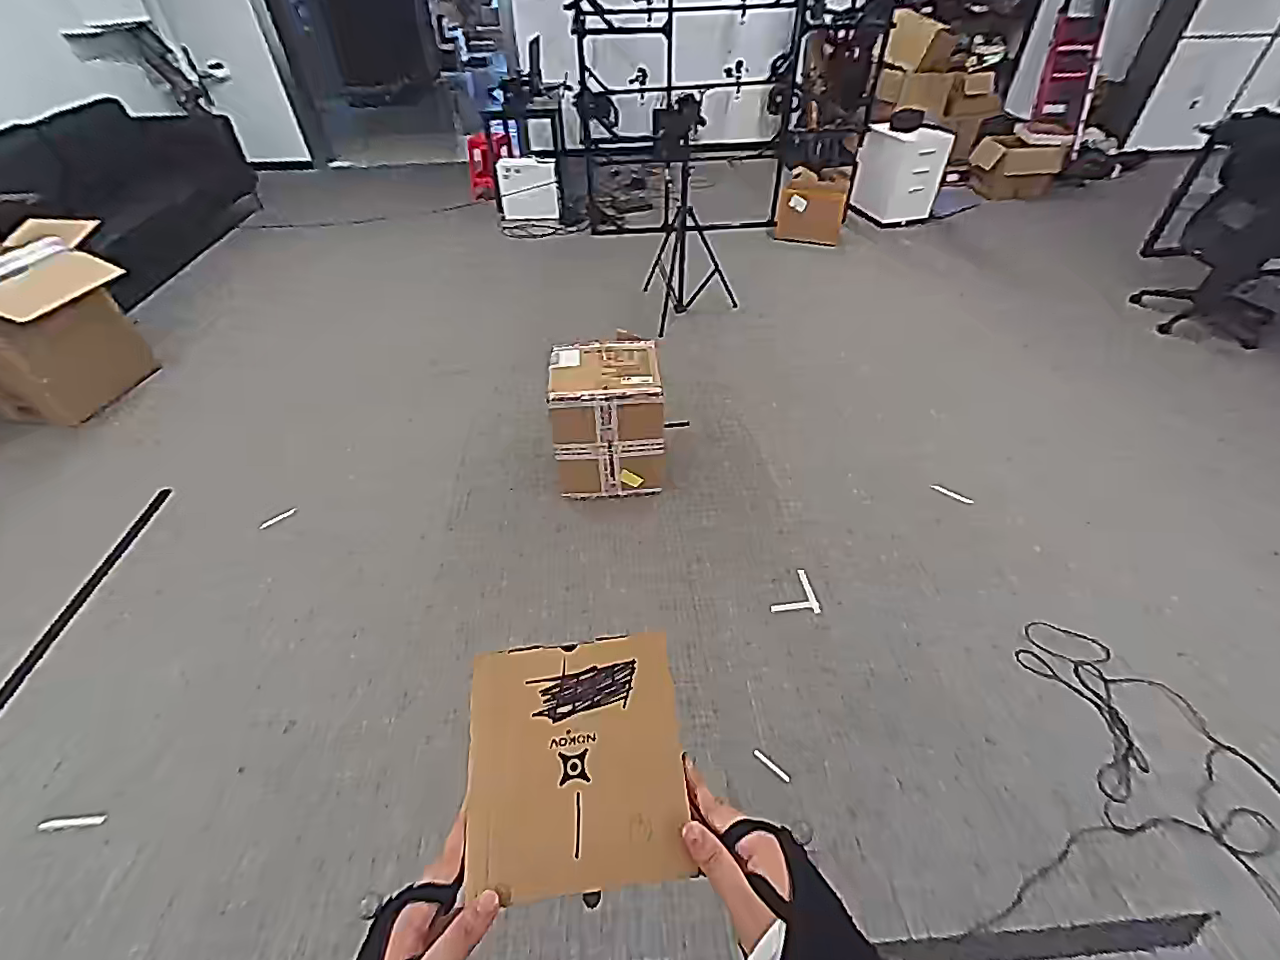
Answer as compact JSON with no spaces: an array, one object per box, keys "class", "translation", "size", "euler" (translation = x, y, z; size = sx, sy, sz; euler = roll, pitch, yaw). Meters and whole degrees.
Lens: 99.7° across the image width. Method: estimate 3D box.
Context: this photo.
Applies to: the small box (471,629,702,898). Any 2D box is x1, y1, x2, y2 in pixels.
[{"class":"small box","translation":[-0.044,0.254,0.489],"size":[0.168,0.176,0.179],"euler":[-7,58,-2]}]
